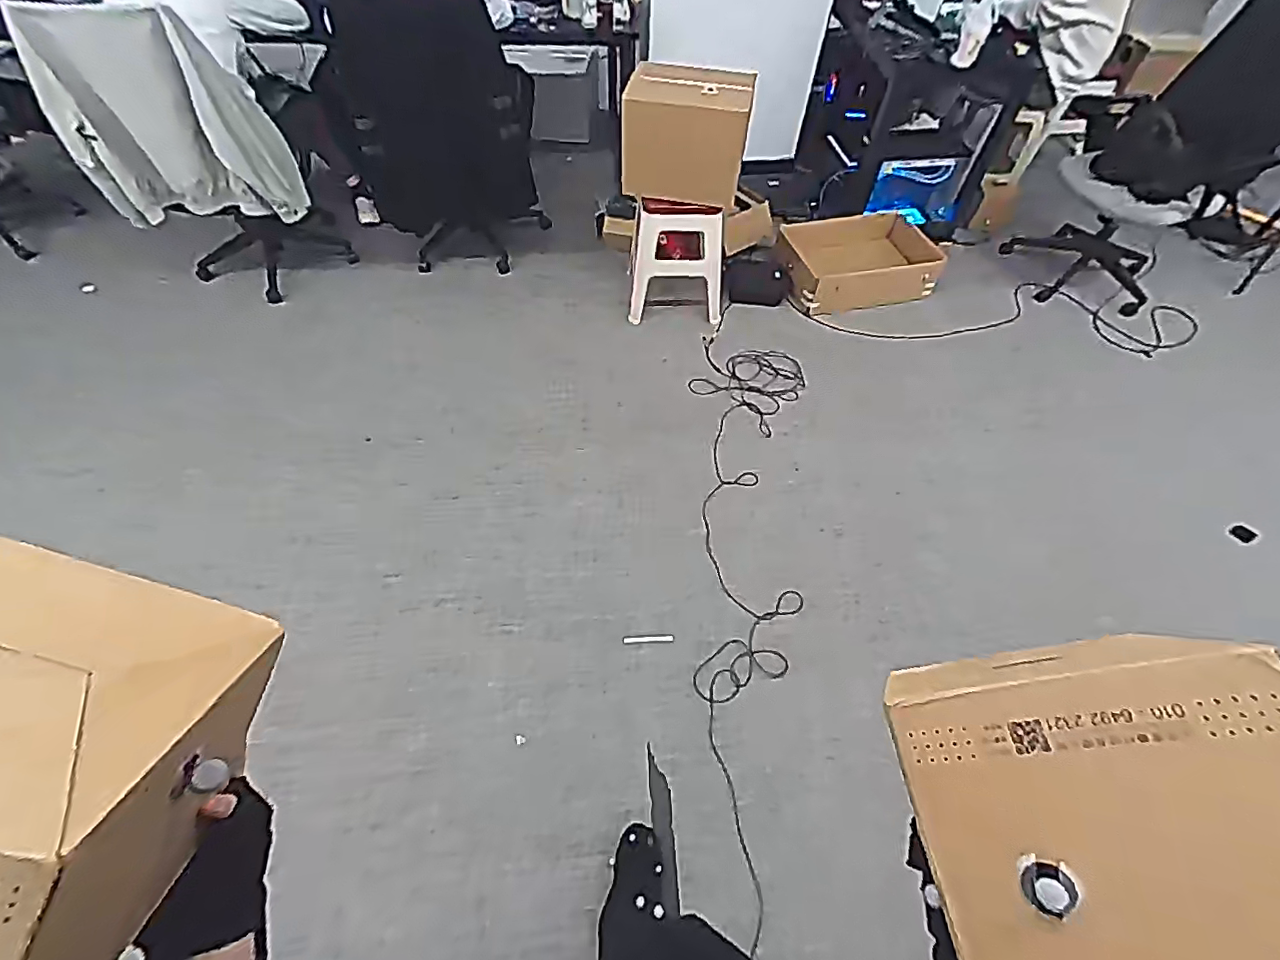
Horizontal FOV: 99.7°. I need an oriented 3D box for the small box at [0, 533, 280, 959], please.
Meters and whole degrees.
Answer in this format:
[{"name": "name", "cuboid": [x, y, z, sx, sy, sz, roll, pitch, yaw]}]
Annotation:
[{"name": "small box", "cuboid": [-0.308, 0.140, 0.243, 0.168, 0.179, 0.176, 24, 95, -14]}]
